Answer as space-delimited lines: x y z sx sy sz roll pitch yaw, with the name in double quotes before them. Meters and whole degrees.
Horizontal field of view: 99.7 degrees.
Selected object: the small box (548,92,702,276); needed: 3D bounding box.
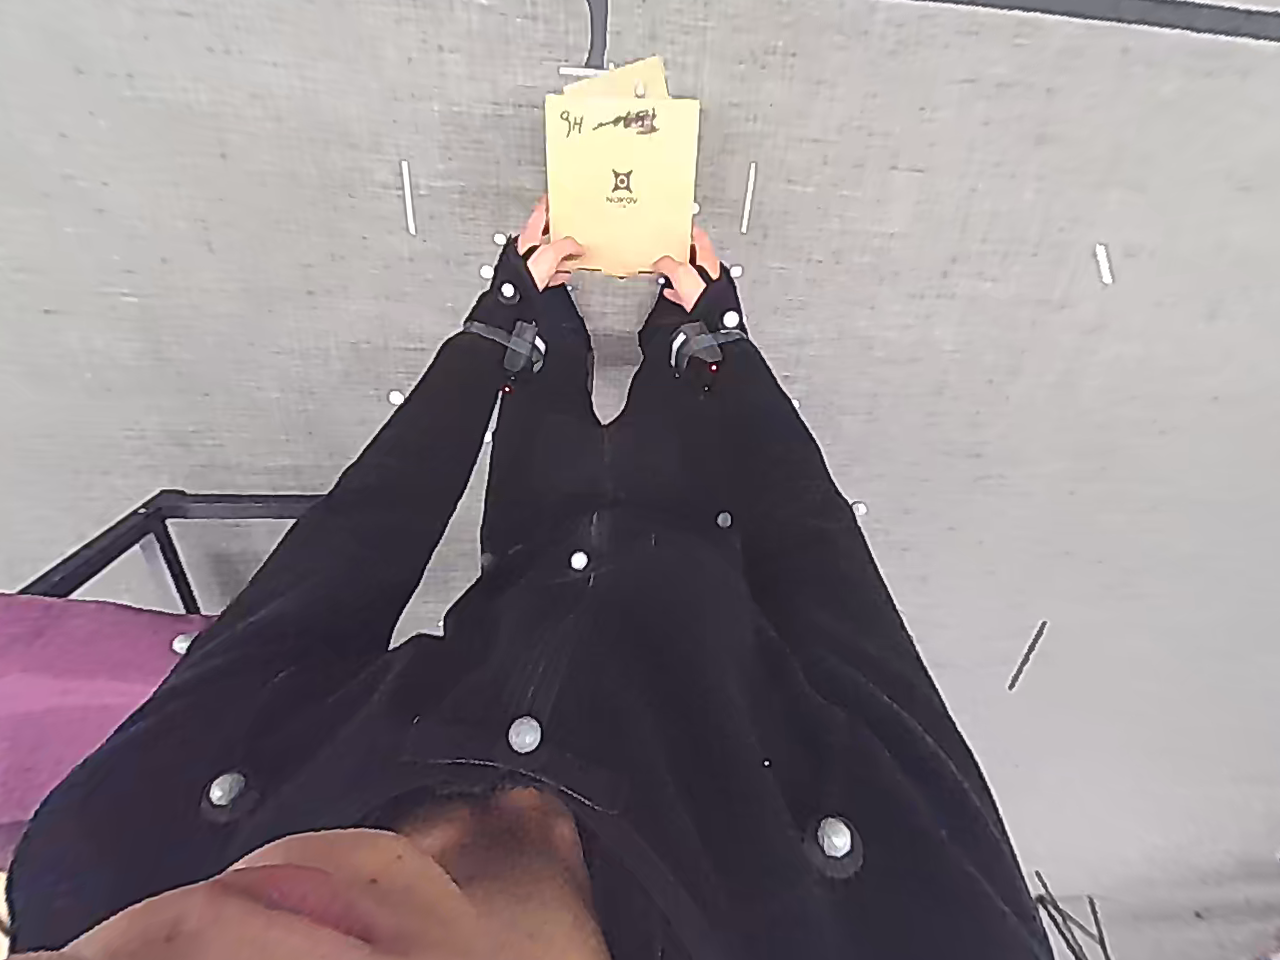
"small box" -0.018 -0.364 0.676 0.168 0.176 0.179 2 118 -1
